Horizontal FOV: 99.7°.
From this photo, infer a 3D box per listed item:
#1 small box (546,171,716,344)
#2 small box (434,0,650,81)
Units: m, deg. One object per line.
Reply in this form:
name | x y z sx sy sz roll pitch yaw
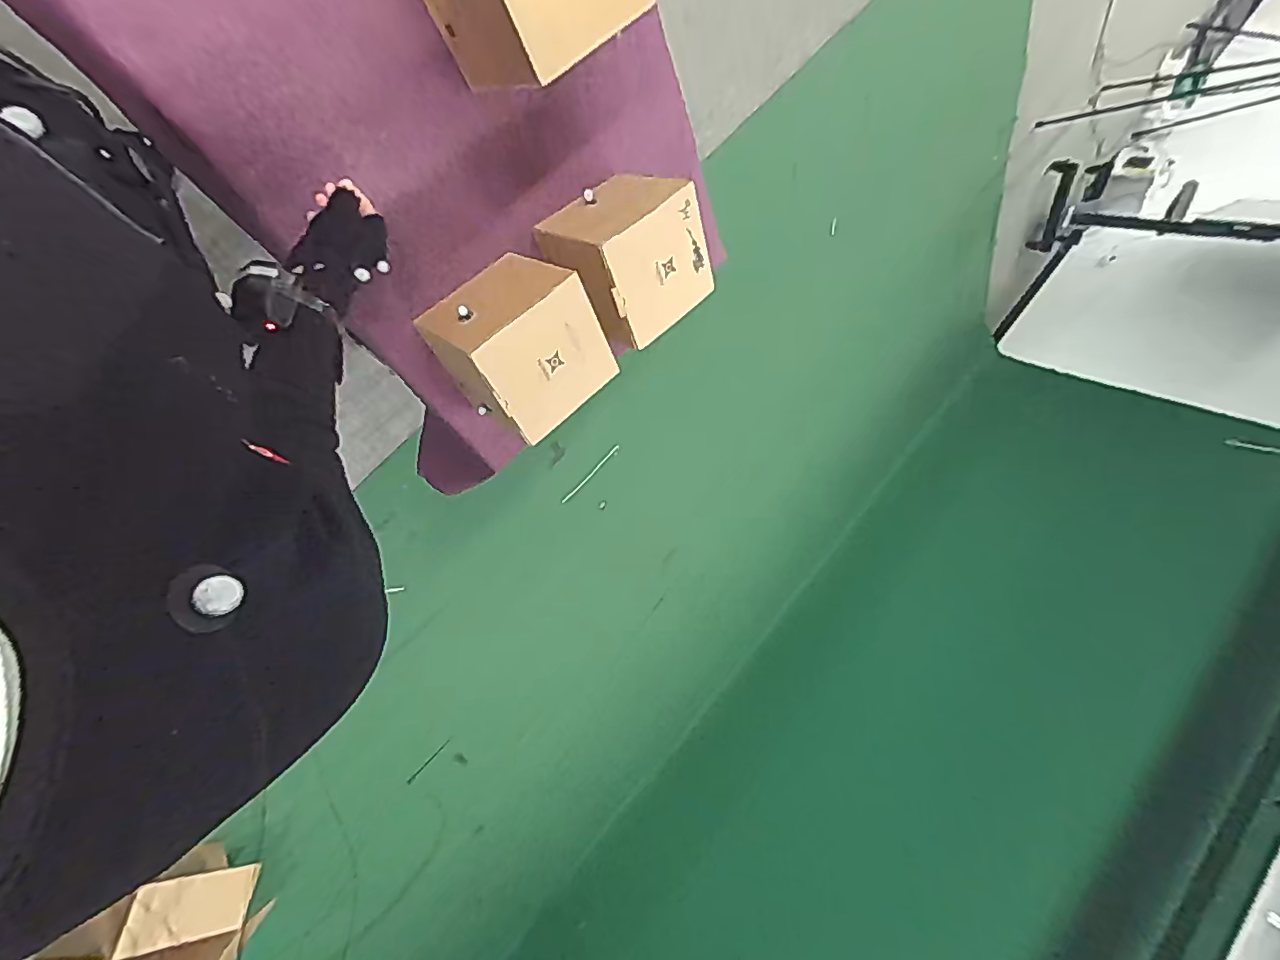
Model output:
small box | -0.018 -0.335 0.805 0.179 0.176 0.168 -41 139 -17
small box | -0.121 -0.545 0.558 0.179 0.176 0.168 -47 140 -13
